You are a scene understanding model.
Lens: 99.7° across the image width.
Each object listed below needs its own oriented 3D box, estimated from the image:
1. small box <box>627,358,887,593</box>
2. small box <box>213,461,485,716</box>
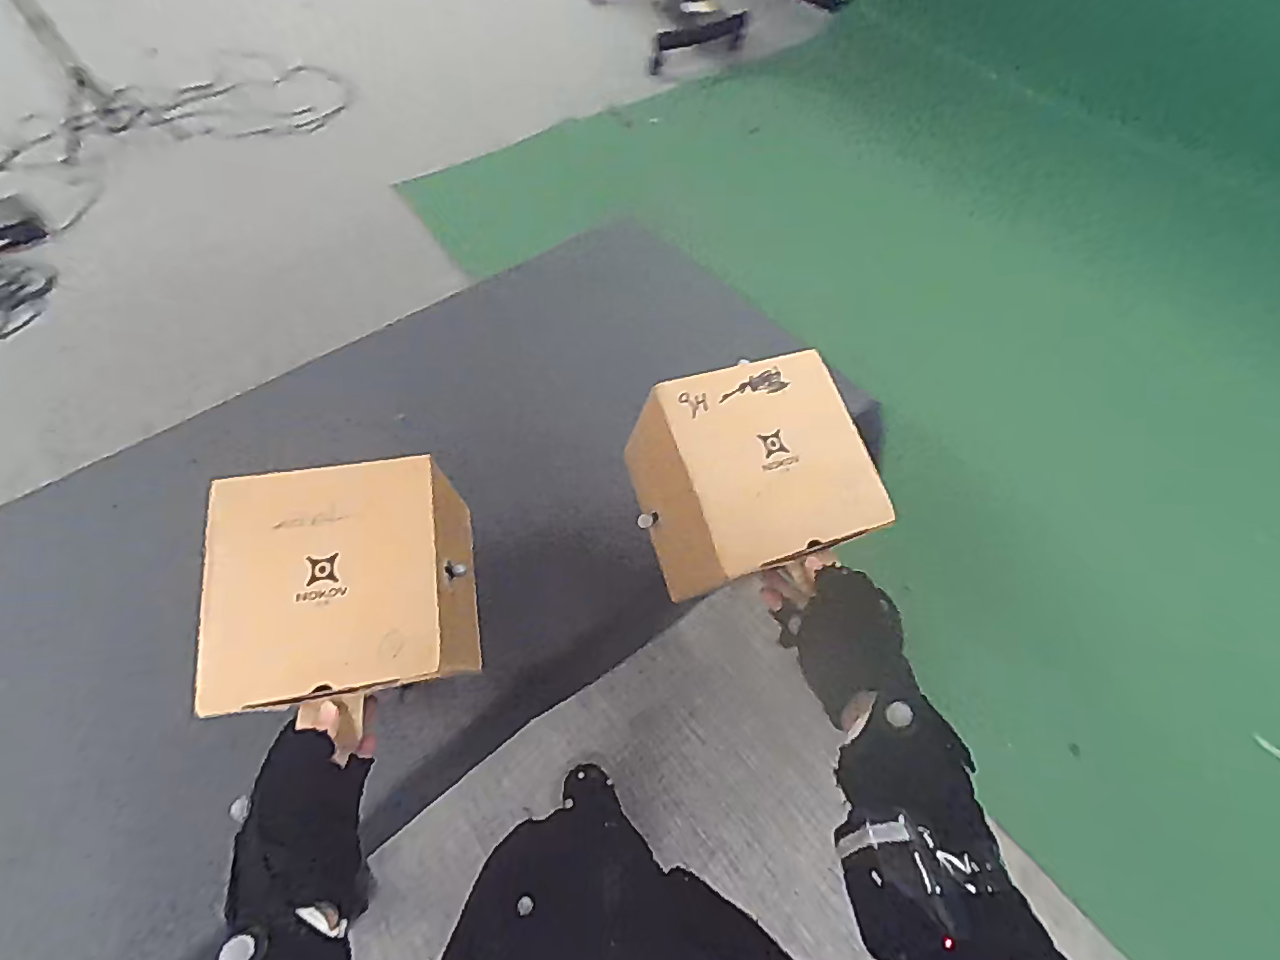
[{"bbox_3d":[0.098,0.008,0.536,0.168,0.176,0.179,-14,77,-16],"label":"small box"},{"bbox_3d":[-0.244,0.100,0.494,0.168,0.176,0.179,-8,73,-8],"label":"small box"}]
